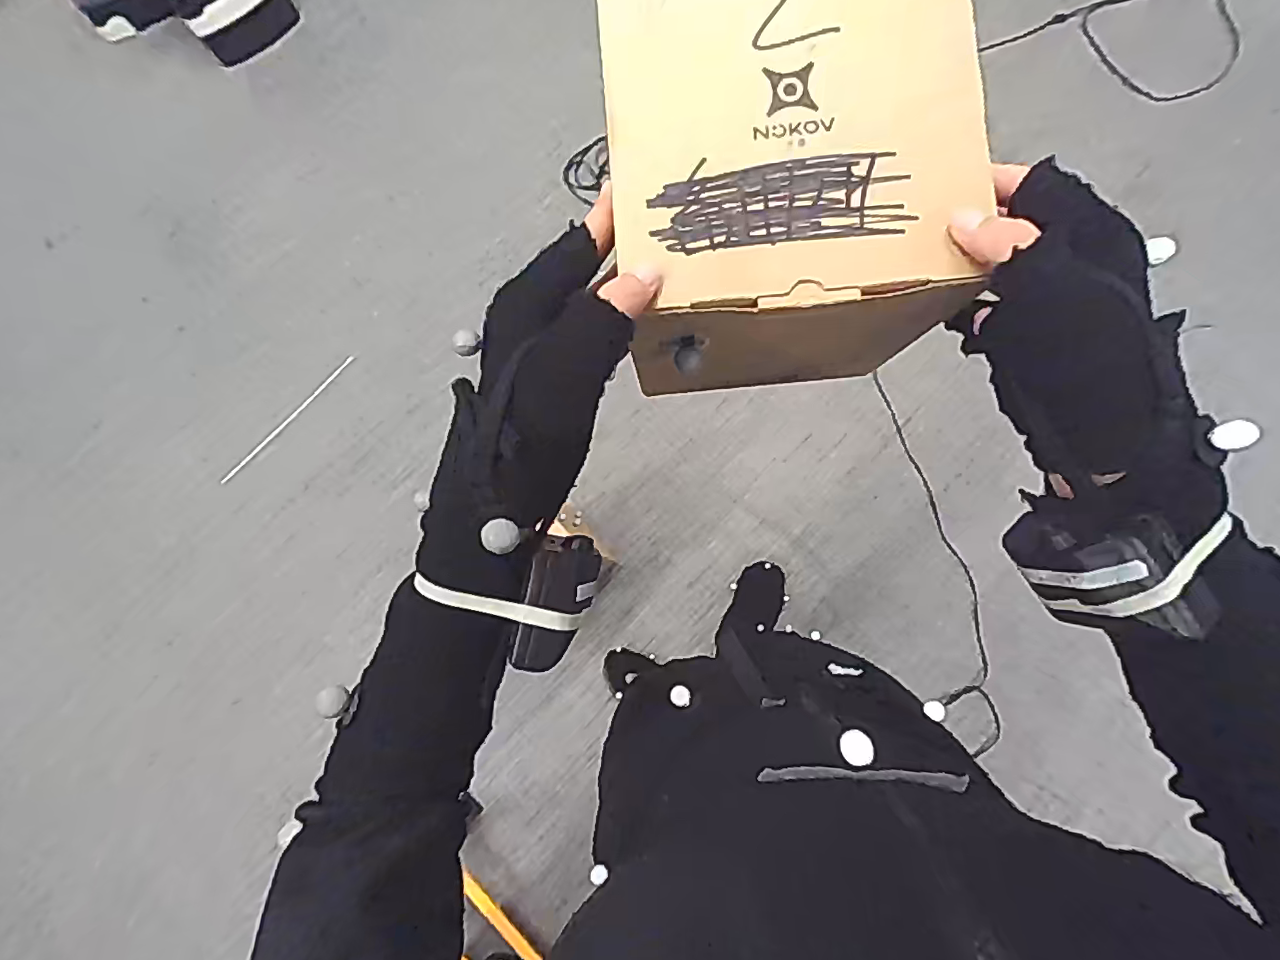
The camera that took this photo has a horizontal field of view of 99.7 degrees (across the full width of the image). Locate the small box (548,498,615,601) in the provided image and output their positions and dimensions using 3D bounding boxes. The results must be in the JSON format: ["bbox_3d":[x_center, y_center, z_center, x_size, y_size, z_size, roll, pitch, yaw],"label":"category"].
[{"bbox_3d":[-0.179,0.168,1.289,0.168,0.176,0.179,-41,81,-3],"label":"small box"}]

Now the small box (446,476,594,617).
[{"bbox_3d":[-0.202,0.118,0.967,0.168,0.176,0.179,-43,80,-4],"label":"small box"}]
